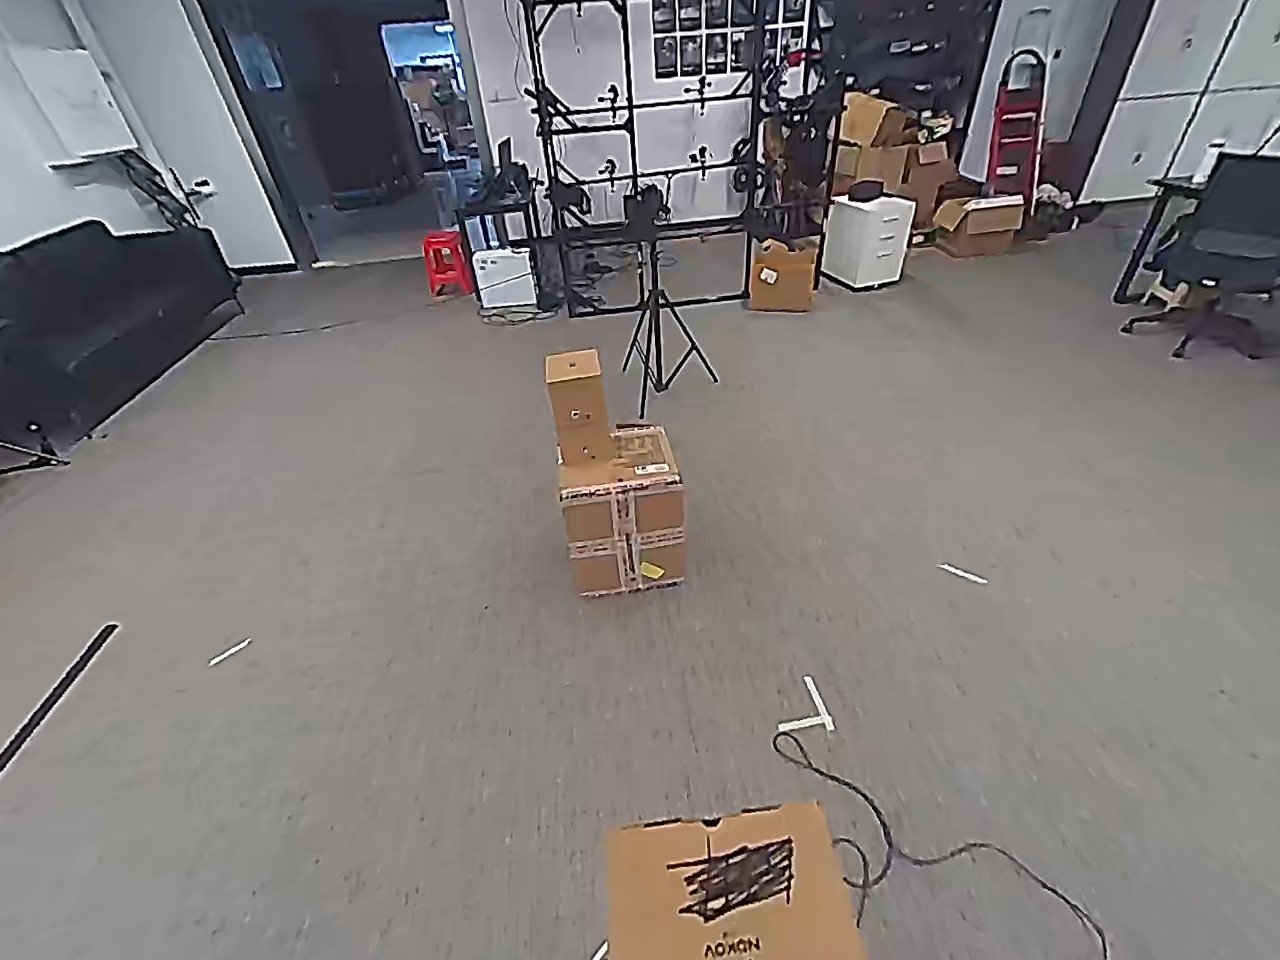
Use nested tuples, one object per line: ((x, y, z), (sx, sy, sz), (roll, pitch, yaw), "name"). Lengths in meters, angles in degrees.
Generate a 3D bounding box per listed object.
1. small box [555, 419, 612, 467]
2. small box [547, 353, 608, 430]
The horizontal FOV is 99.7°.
((-0.192, -0.165, 1.822), (0.168, 0.176, 0.179), (-9, 40, -3), "small box")
((-0.197, -0.279, 1.704), (0.168, 0.176, 0.179), (-10, 40, -3), "small box")
